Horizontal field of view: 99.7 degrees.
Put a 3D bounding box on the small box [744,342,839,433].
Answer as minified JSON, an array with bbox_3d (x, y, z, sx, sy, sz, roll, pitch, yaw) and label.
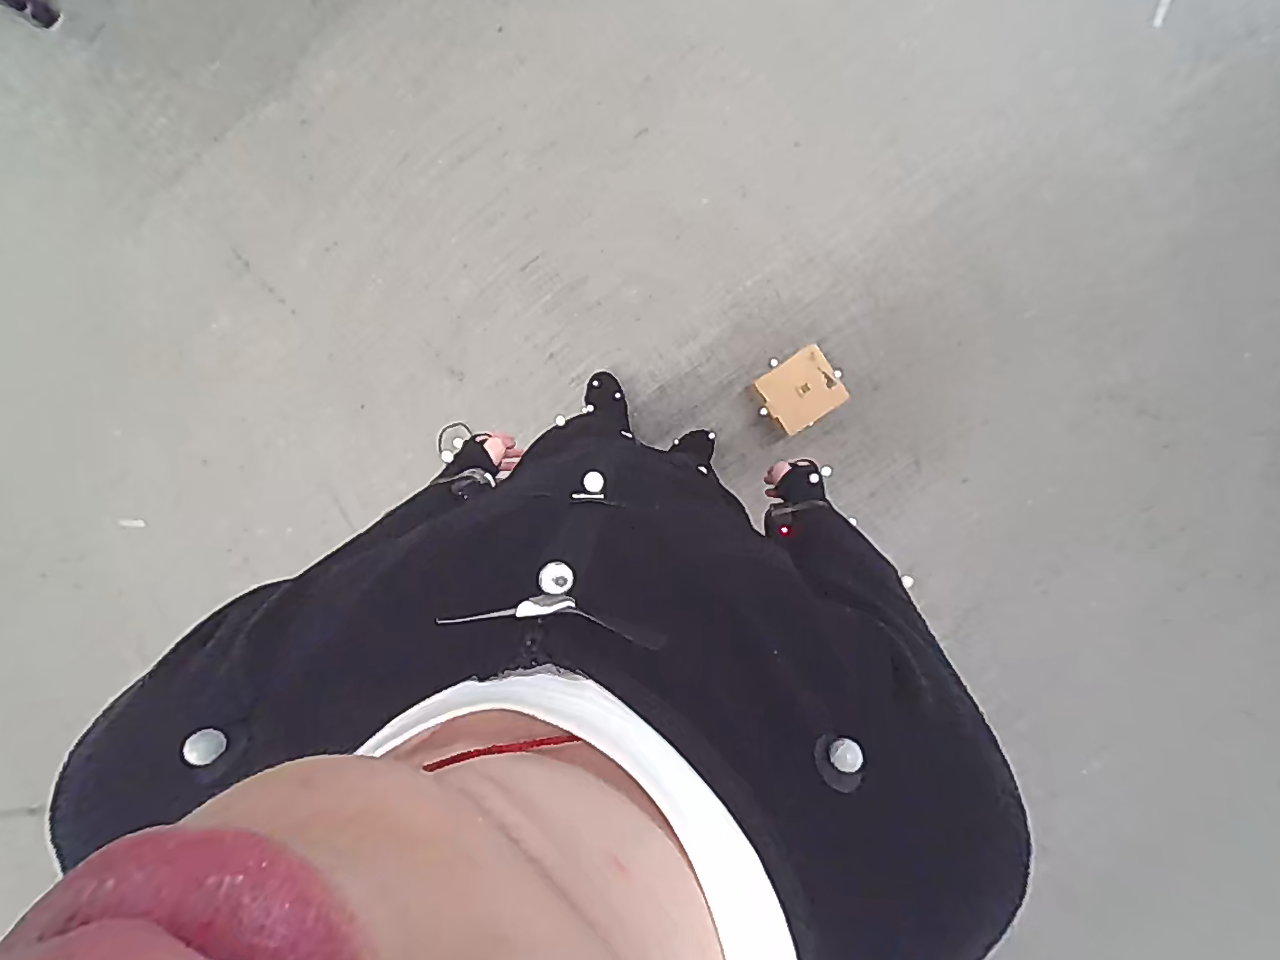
[{"bbox_3d":[0.392,-0.241,1.437,0.179,0.176,0.168,-36,94,8],"label":"small box"}]
